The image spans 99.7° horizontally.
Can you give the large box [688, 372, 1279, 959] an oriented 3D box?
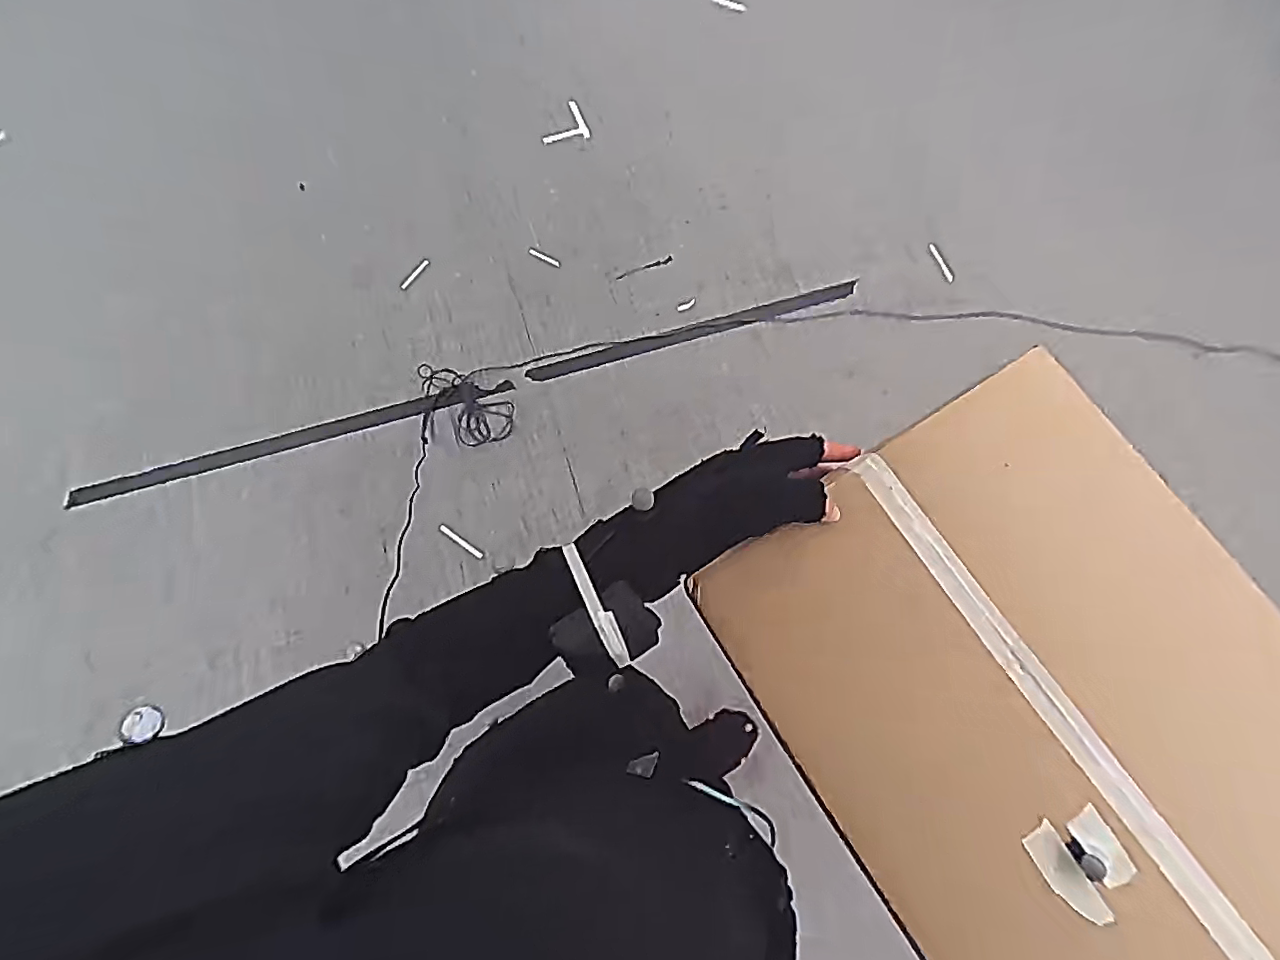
[{"bbox_3d":[0.282,0.184,0.506,0.320,0.320,0.408,-33,79,-1],"label":"large box"}]
